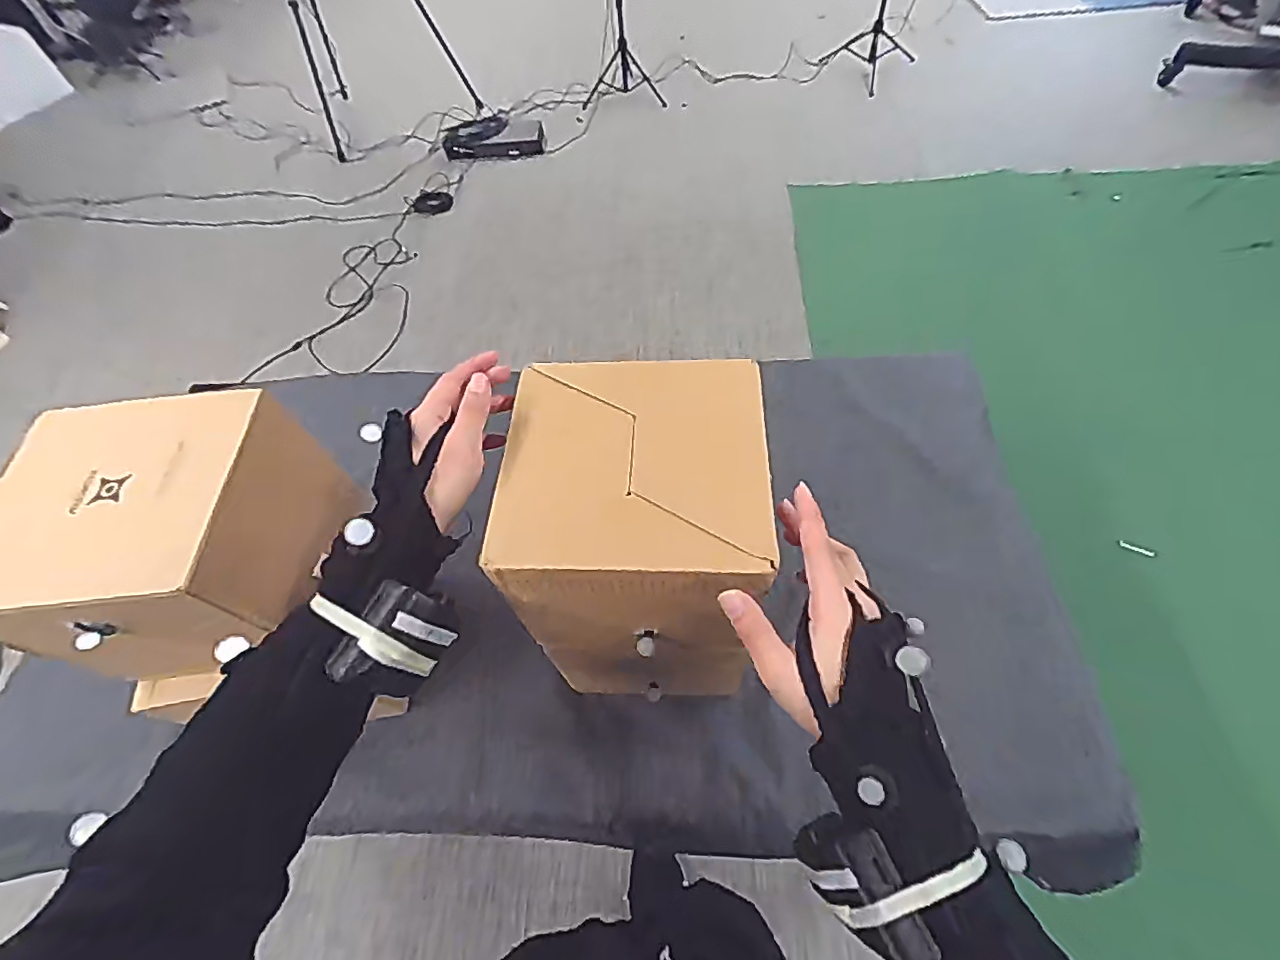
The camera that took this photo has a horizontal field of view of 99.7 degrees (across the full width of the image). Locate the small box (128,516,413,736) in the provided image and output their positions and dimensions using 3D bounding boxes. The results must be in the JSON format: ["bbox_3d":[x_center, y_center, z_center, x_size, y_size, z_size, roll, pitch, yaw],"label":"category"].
[{"bbox_3d":[-0.353,0.150,0.563,0.168,0.176,0.179,-9,57,-2],"label":"small box"}]

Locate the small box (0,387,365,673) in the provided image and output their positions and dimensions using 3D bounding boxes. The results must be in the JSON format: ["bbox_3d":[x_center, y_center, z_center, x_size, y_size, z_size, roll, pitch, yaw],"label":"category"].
[{"bbox_3d":[-0.360,0.049,0.436,0.179,0.176,0.168,-6,58,0],"label":"small box"}]

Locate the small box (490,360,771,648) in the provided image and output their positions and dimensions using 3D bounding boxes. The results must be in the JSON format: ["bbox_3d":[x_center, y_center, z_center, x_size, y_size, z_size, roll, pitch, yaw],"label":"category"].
[{"bbox_3d":[-0.004,0.023,0.419,0.179,0.176,0.168,0,57,5],"label":"small box"}]

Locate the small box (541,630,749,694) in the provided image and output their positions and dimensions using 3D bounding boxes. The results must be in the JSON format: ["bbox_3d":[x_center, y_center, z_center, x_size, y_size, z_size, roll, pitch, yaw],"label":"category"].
[{"bbox_3d":[0.009,0.117,0.558,0.179,0.176,0.168,0,57,4],"label":"small box"}]
